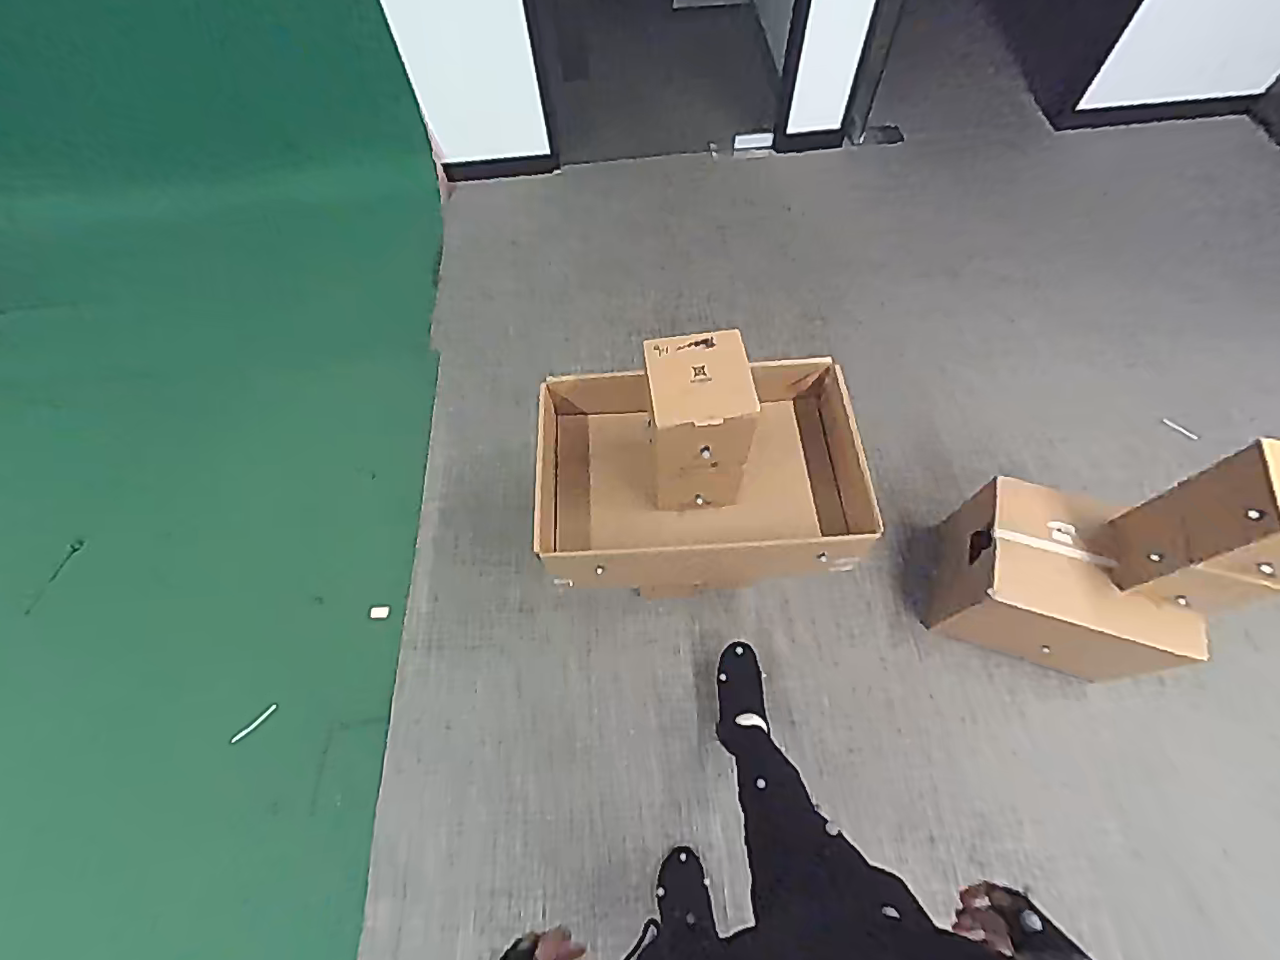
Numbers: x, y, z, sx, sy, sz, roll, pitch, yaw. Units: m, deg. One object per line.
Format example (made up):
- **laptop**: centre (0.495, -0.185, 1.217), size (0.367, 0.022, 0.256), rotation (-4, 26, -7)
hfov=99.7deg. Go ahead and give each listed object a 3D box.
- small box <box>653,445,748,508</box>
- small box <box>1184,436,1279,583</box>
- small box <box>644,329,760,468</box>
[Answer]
- **small box**: centre (0.112, -0.060, 1.083), size (0.168, 0.176, 0.179), rotation (-5, 64, 1)
- **small box**: centre (1.086, 0.055, 0.916), size (0.168, 0.176, 0.179), rotation (13, 64, 9)
- **small box**: centre (0.101, -0.132, 0.936), size (0.168, 0.176, 0.179), rotation (-7, 64, -1)
